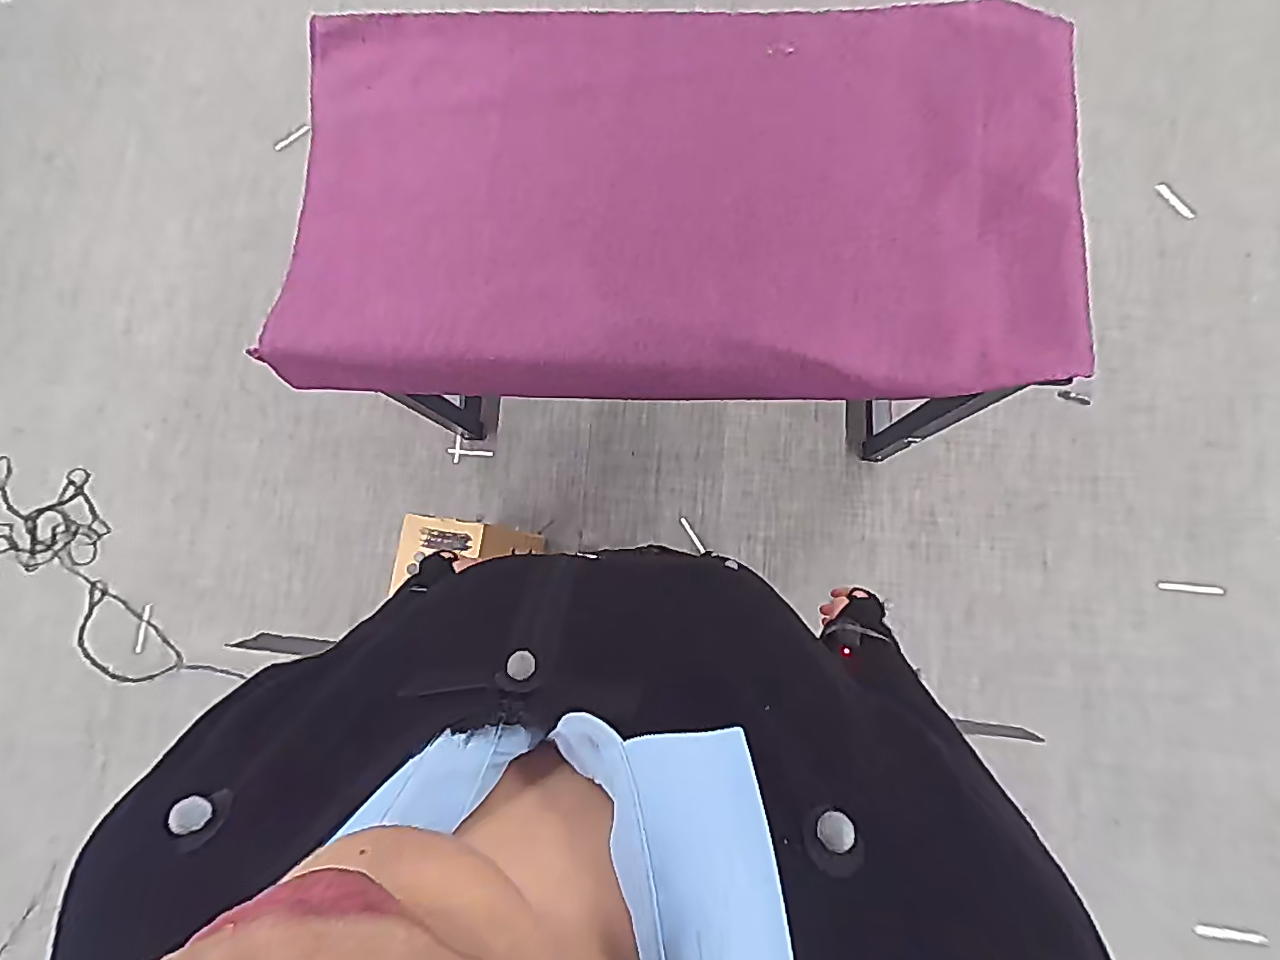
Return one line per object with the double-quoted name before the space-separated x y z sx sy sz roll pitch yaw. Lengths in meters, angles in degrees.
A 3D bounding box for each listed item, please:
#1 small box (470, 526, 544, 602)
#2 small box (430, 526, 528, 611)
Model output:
"small box" -0.369 0.229 1.450 0.168 0.176 0.179 10 82 5
"small box" -0.372 0.208 1.286 0.168 0.176 0.179 5 82 5
